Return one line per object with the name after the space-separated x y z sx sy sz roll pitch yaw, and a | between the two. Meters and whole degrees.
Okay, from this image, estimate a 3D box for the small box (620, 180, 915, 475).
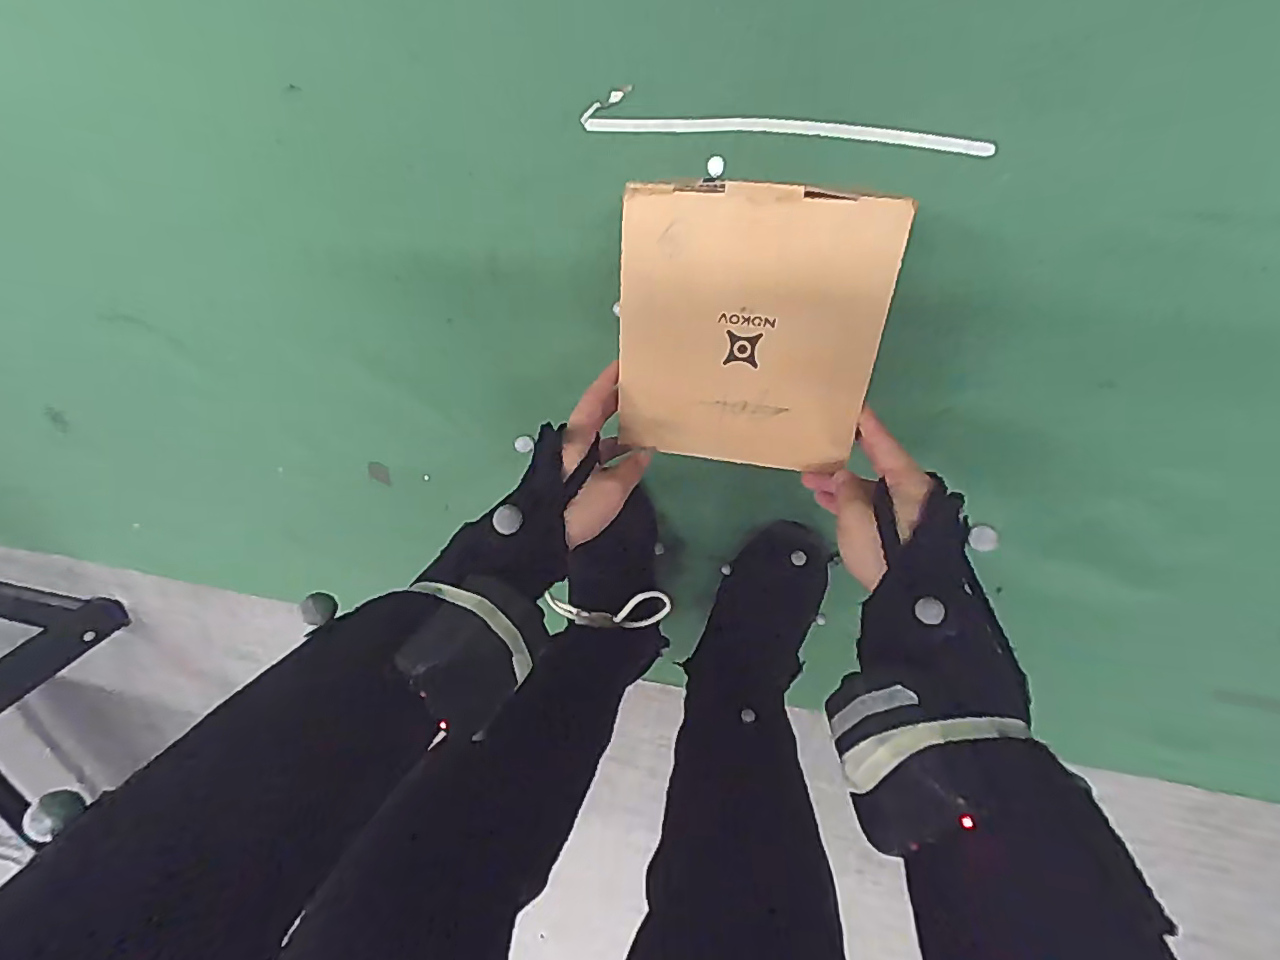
0.085 -0.128 0.418 0.168 0.176 0.179 9 122 10 | small box
